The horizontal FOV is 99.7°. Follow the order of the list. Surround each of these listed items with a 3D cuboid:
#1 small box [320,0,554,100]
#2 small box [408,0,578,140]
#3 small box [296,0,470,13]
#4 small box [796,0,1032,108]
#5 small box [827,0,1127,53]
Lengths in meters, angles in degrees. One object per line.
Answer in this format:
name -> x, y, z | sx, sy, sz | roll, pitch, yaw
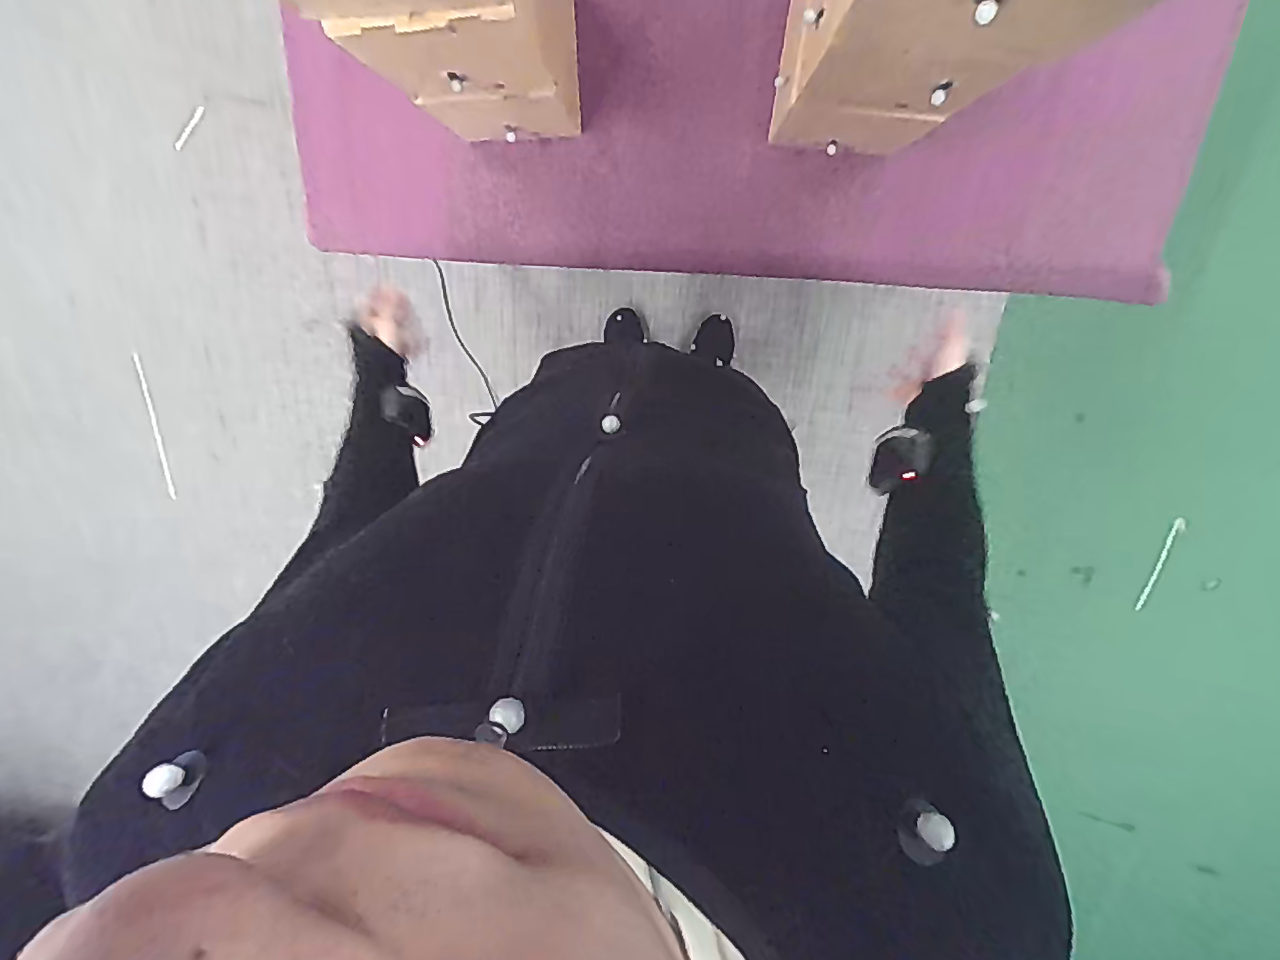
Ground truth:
small box -> -0.183, -0.483, 0.494 | 0.168, 0.176, 0.179 | -2, 109, 5
small box -> -0.172, -0.532, 0.648 | 0.168, 0.176, 0.179 | 0, 109, 5
small box -> -0.202, -0.433, 0.339 | 0.179, 0.176, 0.168 | -1, 110, 6
small box -> 0.242, -0.448, 0.467 | 0.168, 0.176, 0.179 | 6, 110, 2
small box -> 0.231, -0.384, 0.316 | 0.179, 0.176, 0.168 | 9, 110, 3
